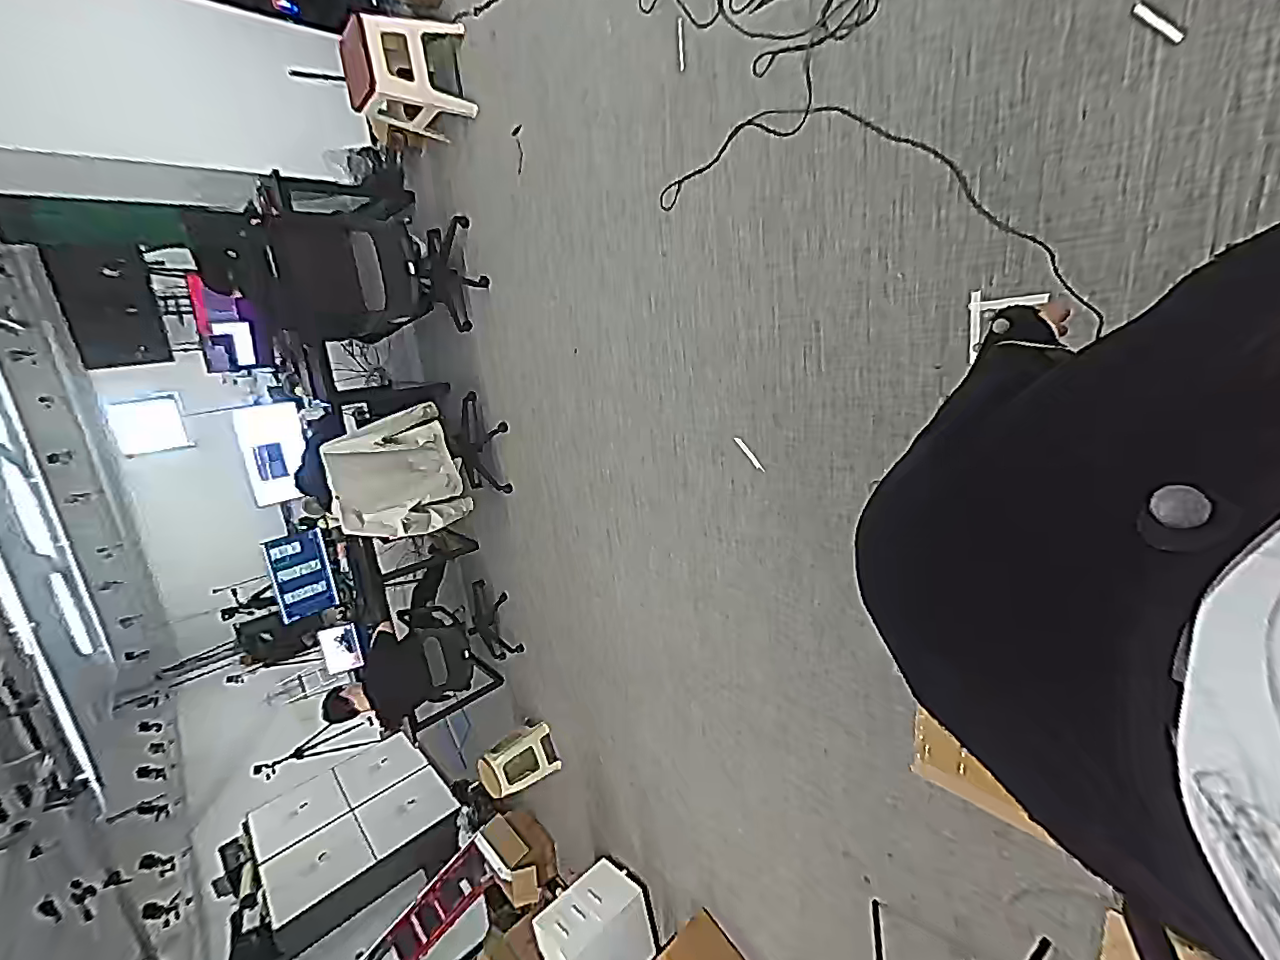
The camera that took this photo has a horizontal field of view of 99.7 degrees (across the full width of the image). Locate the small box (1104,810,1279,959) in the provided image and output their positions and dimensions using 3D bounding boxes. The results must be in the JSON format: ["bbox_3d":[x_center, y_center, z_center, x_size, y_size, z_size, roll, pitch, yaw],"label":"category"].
[{"bbox_3d":[0.581,0.482,0.538,0.168,0.176,0.179,9,110,48],"label":"small box"}]
